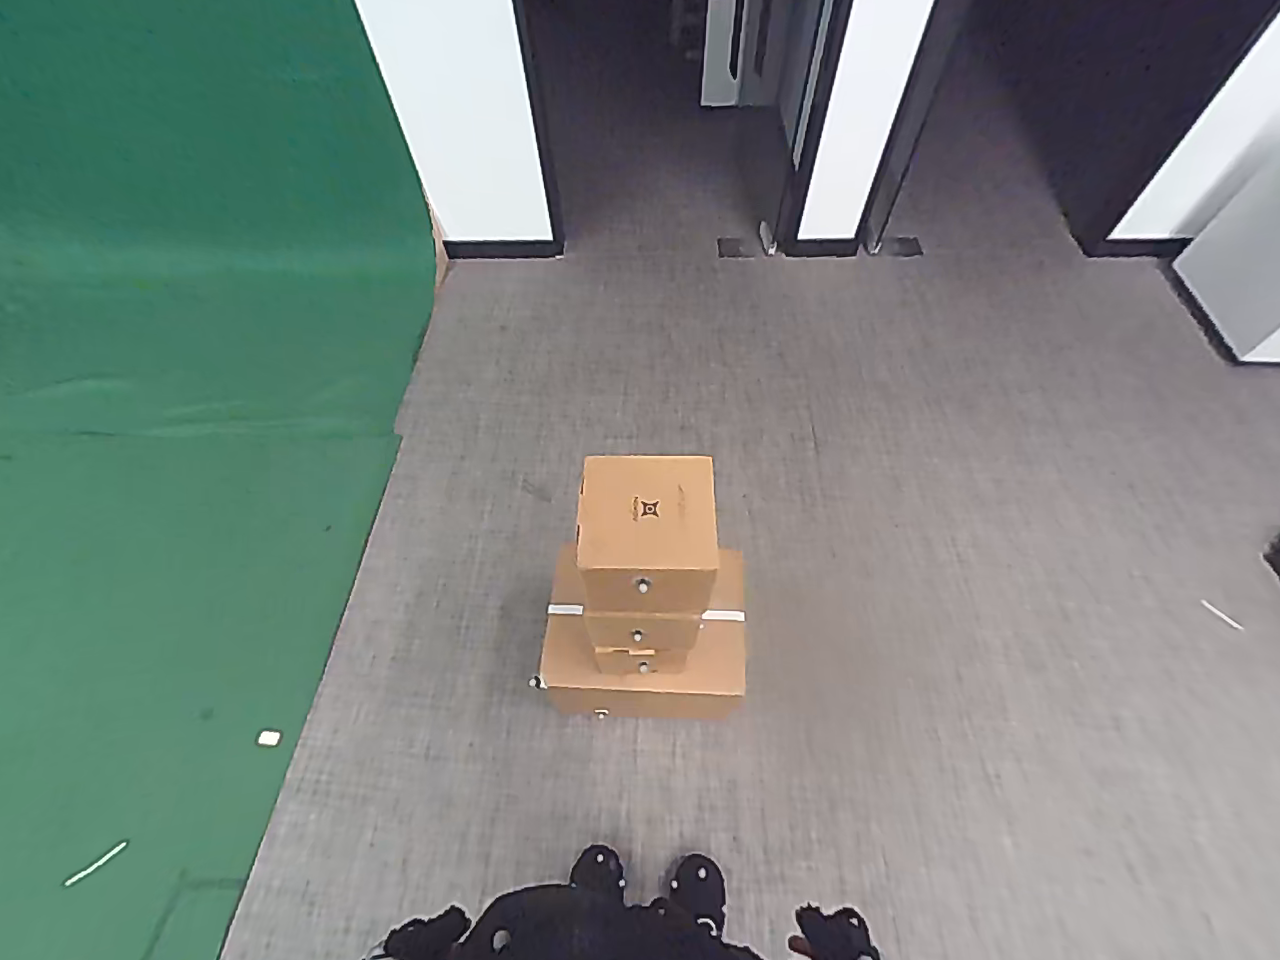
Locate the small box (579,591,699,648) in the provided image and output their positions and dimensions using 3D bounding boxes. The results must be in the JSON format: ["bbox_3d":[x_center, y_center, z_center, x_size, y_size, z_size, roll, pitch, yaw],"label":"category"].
[{"bbox_3d":[0.003,0.174,0.894,0.179,0.176,0.168,1,58,3],"label":"small box"}]

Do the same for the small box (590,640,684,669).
[{"bbox_3d":[-0.002,0.260,1.035,0.168,0.176,0.179,-1,59,1],"label":"small box"}]

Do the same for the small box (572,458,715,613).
[{"bbox_3d":[0.007,0.083,0.760,0.179,0.176,0.168,1,59,0],"label":"small box"}]
